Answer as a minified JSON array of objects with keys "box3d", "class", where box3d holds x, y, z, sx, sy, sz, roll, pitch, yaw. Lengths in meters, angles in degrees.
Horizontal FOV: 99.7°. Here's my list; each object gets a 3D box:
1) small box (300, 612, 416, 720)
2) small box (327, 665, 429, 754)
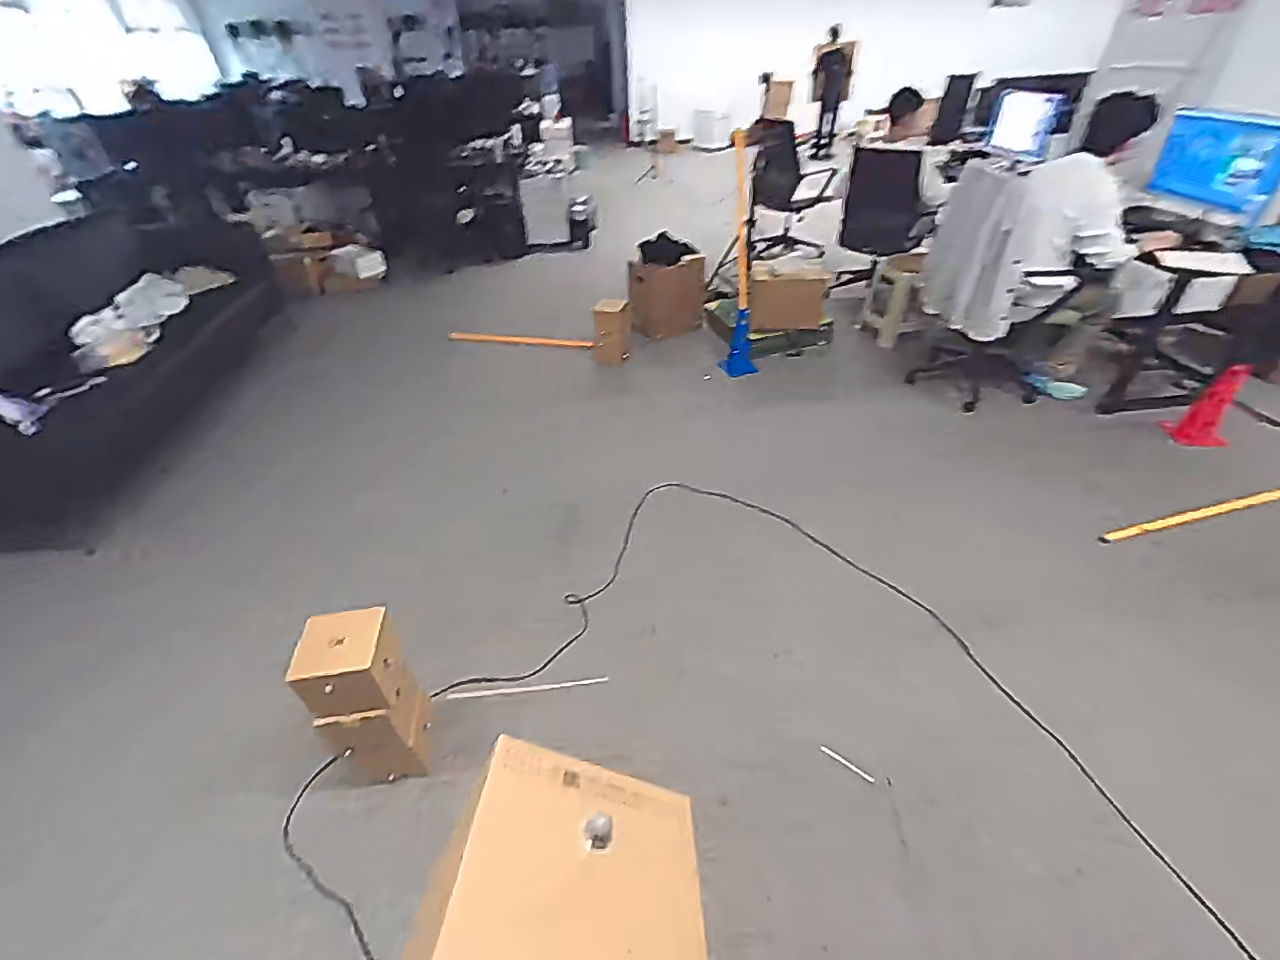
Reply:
[{"box3d":[-0.648,0.438,1.272,0.179,0.176,0.168,-9,39,-4],"class":"small box"},{"box3d":[-0.650,0.570,1.368,0.168,0.176,0.179,-8,38,-5],"class":"small box"}]
